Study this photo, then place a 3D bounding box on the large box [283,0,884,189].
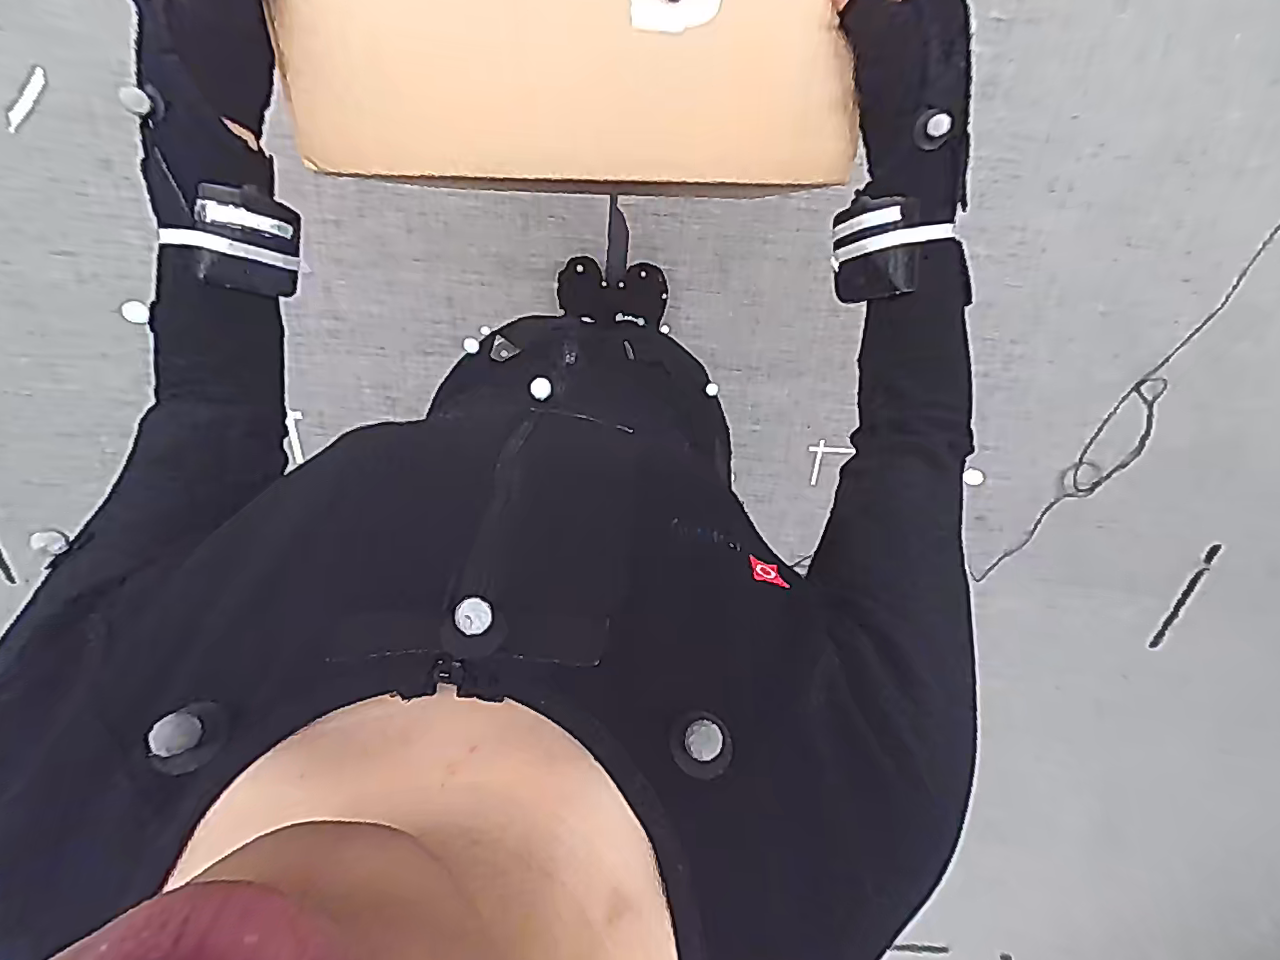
[{"bbox_3d":[-0.038,-0.433,0.464,0.408,0.320,0.320,0,117,-1],"label":"large box"}]
